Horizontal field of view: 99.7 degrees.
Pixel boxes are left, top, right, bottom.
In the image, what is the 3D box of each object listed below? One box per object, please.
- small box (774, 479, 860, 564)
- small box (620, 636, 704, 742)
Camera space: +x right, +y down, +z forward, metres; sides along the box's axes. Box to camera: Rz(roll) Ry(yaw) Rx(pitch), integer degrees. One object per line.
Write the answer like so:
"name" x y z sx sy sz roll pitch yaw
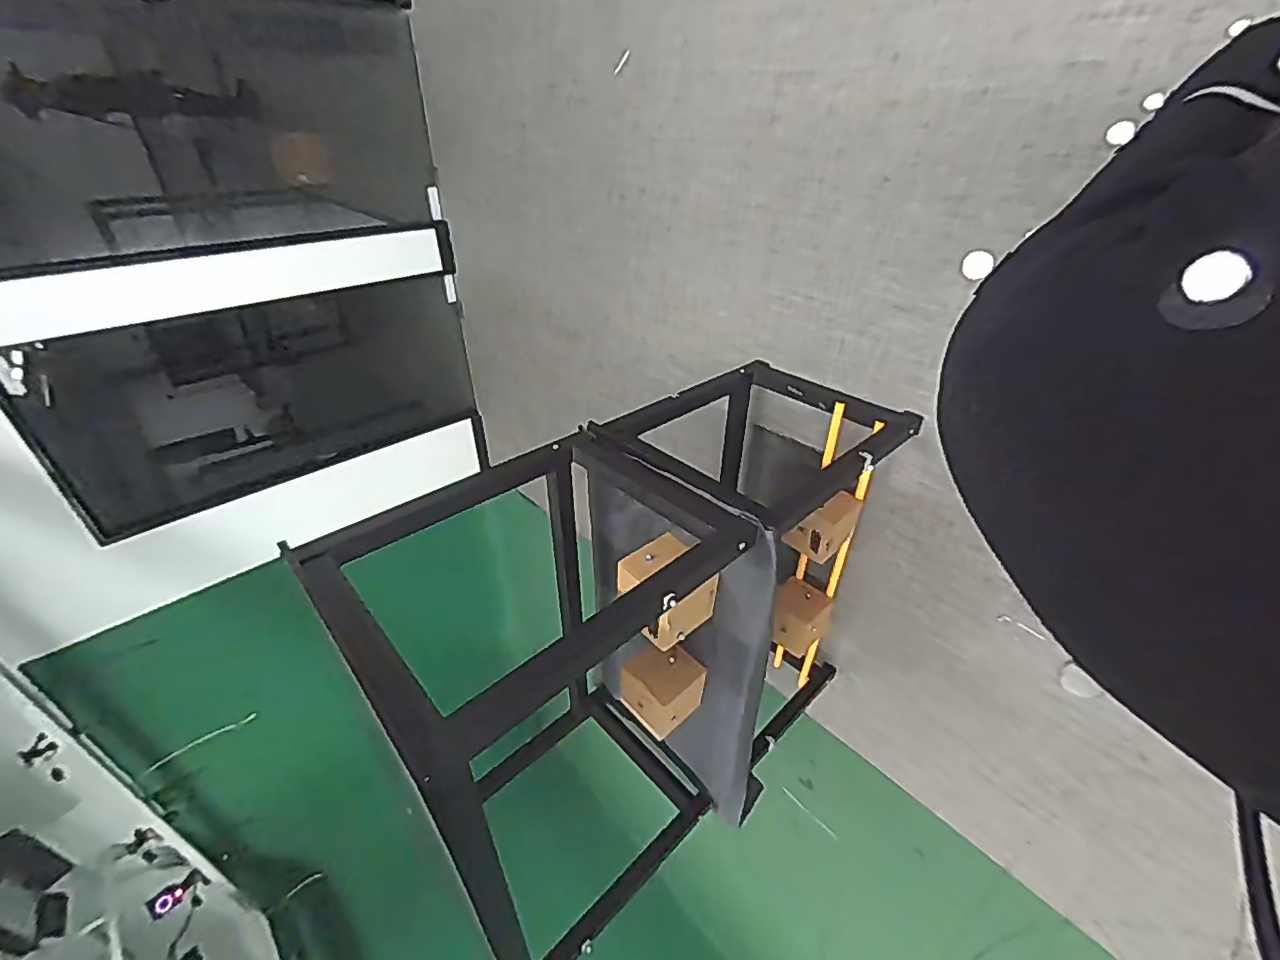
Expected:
"small box" 0.548 0.122 1.672 0.179 0.176 0.168 34 136 34
"small box" 0.060 0.576 1.503 0.168 0.176 0.179 34 136 34
